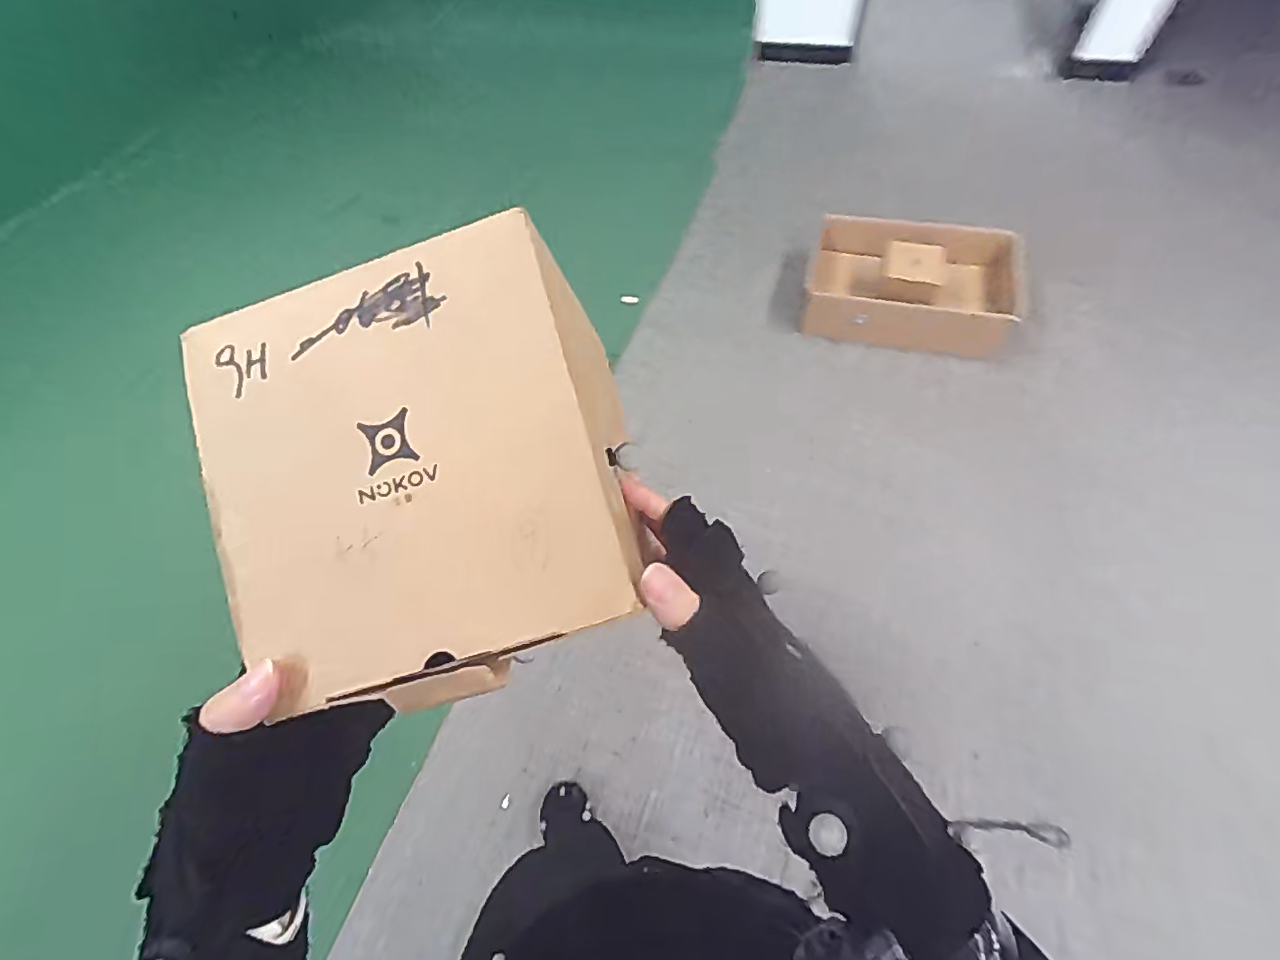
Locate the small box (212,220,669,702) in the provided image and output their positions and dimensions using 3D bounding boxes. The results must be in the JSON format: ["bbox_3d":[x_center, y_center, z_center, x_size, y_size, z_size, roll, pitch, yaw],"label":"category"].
[{"bbox_3d":[-0.085,-0.003,0.309,0.168,0.176,0.179,-16,84,5],"label":"small box"}]

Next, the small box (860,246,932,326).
[{"bbox_3d":[0.829,-0.628,1.760,0.168,0.176,0.179,14,60,11],"label":"small box"}]
